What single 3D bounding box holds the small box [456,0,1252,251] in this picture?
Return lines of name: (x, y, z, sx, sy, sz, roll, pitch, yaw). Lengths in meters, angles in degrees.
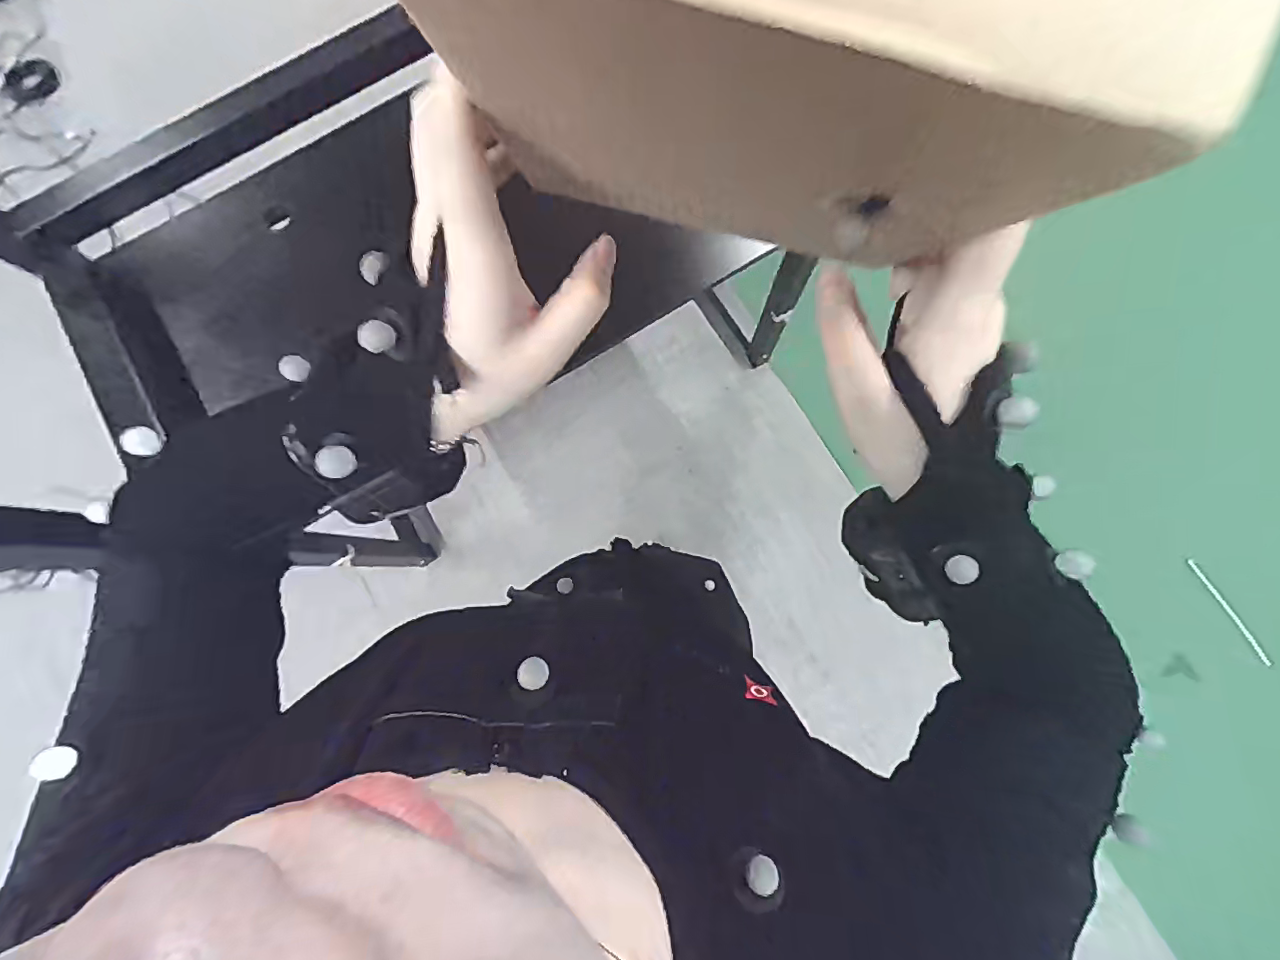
small box: (0.057, -0.187, 0.175, 0.179, 0.176, 0.168, 13, 102, -2)
